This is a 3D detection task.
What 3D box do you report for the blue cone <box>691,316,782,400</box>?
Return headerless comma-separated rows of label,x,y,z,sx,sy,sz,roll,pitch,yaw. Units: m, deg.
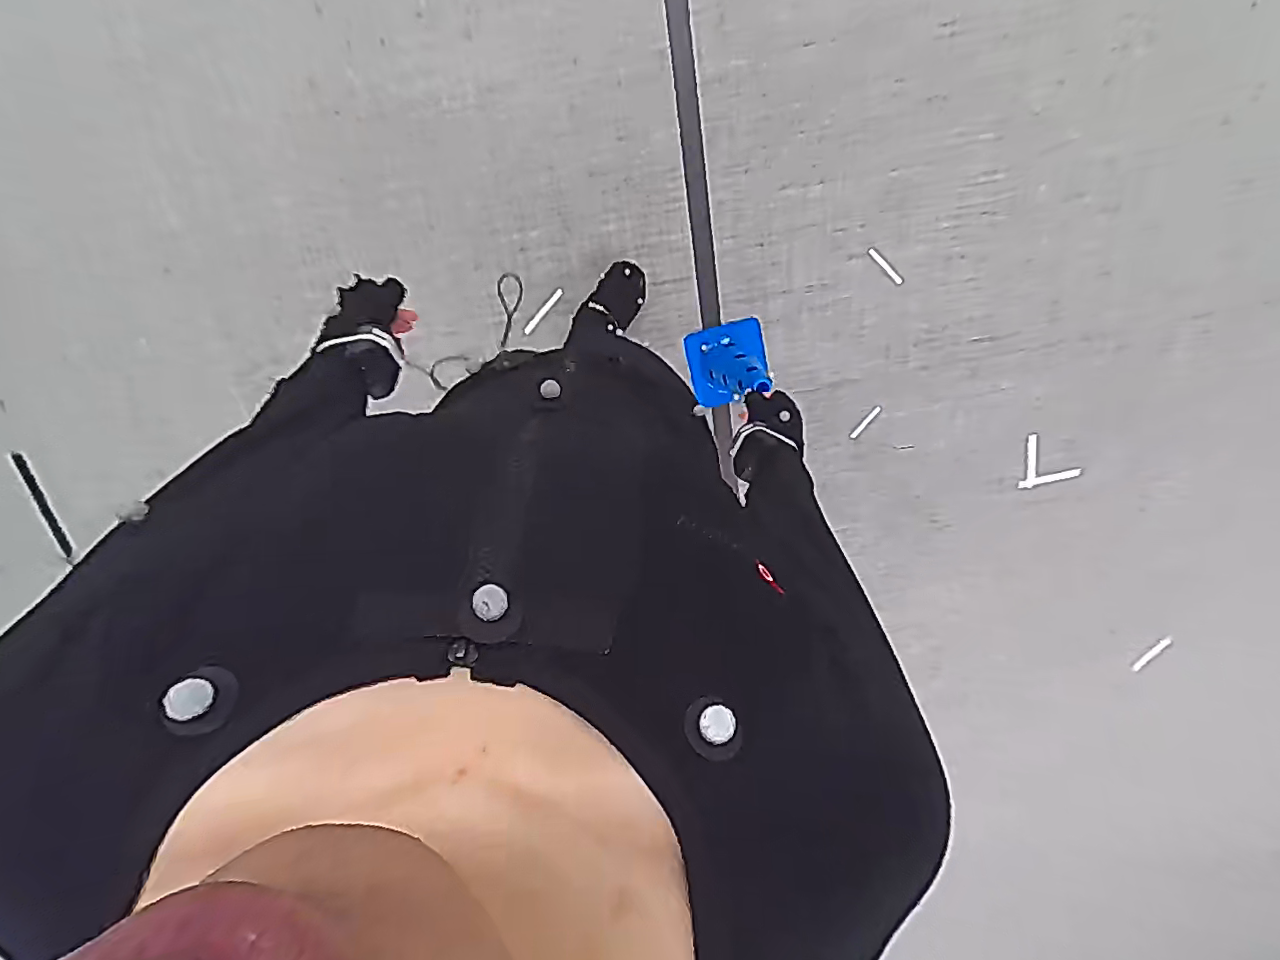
blue cone,0.243,-0.257,1.244,0.192,0.380,0.193,-14,110,1
